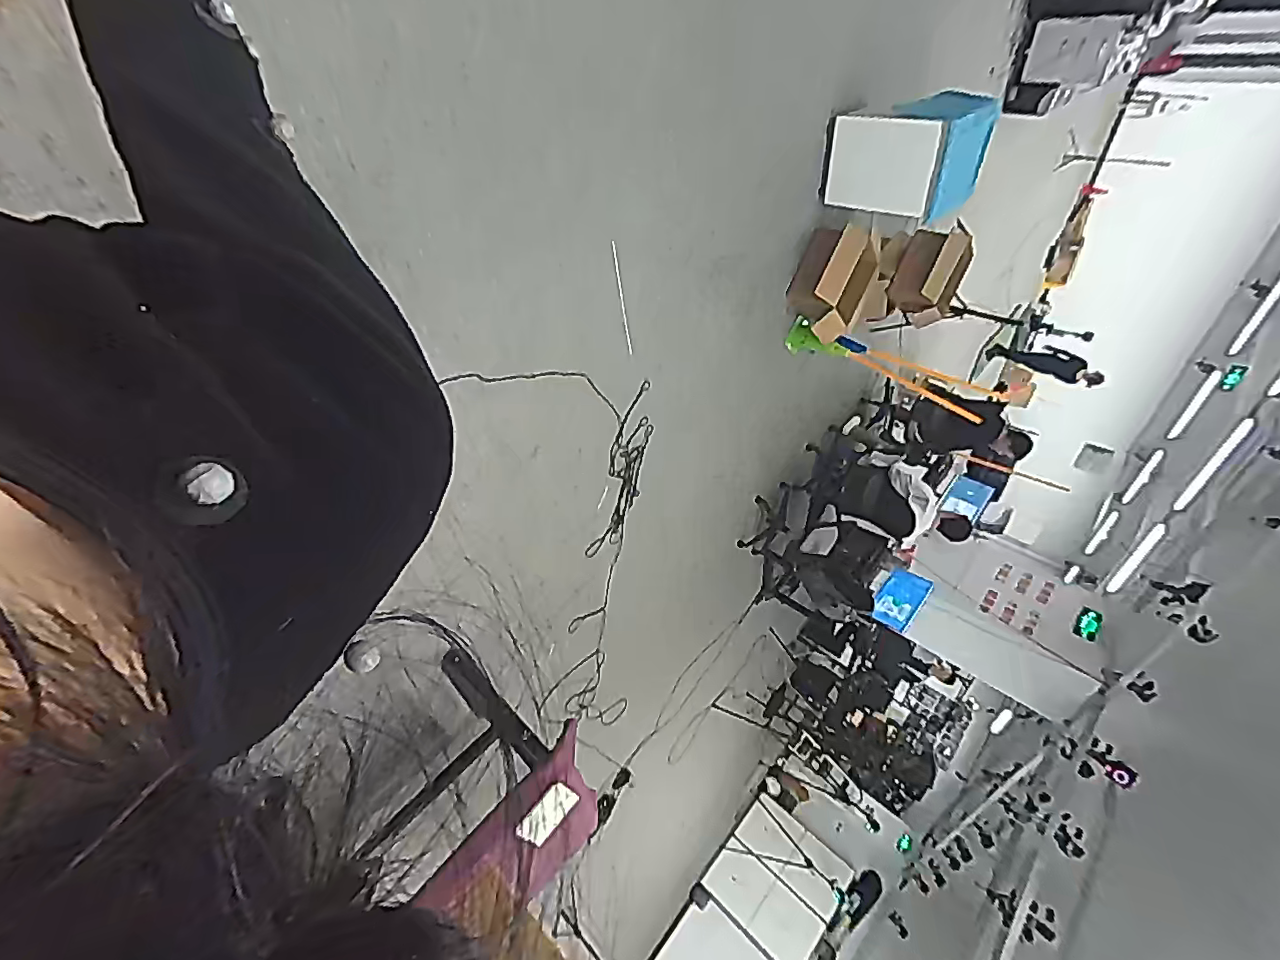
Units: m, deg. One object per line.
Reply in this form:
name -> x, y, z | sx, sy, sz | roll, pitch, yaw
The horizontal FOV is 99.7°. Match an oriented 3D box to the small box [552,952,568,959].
small box -> -0.223, 1.449, 1.466 | 0.179, 0.176, 0.168 | -38, 142, -30

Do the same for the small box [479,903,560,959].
small box -> -0.343, 1.381, 1.556 | 0.179, 0.176, 0.168 | -38, 141, -31

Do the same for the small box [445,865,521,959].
small box -> -0.466, 1.325, 1.649 | 0.168, 0.176, 0.179 | -38, 142, -30
